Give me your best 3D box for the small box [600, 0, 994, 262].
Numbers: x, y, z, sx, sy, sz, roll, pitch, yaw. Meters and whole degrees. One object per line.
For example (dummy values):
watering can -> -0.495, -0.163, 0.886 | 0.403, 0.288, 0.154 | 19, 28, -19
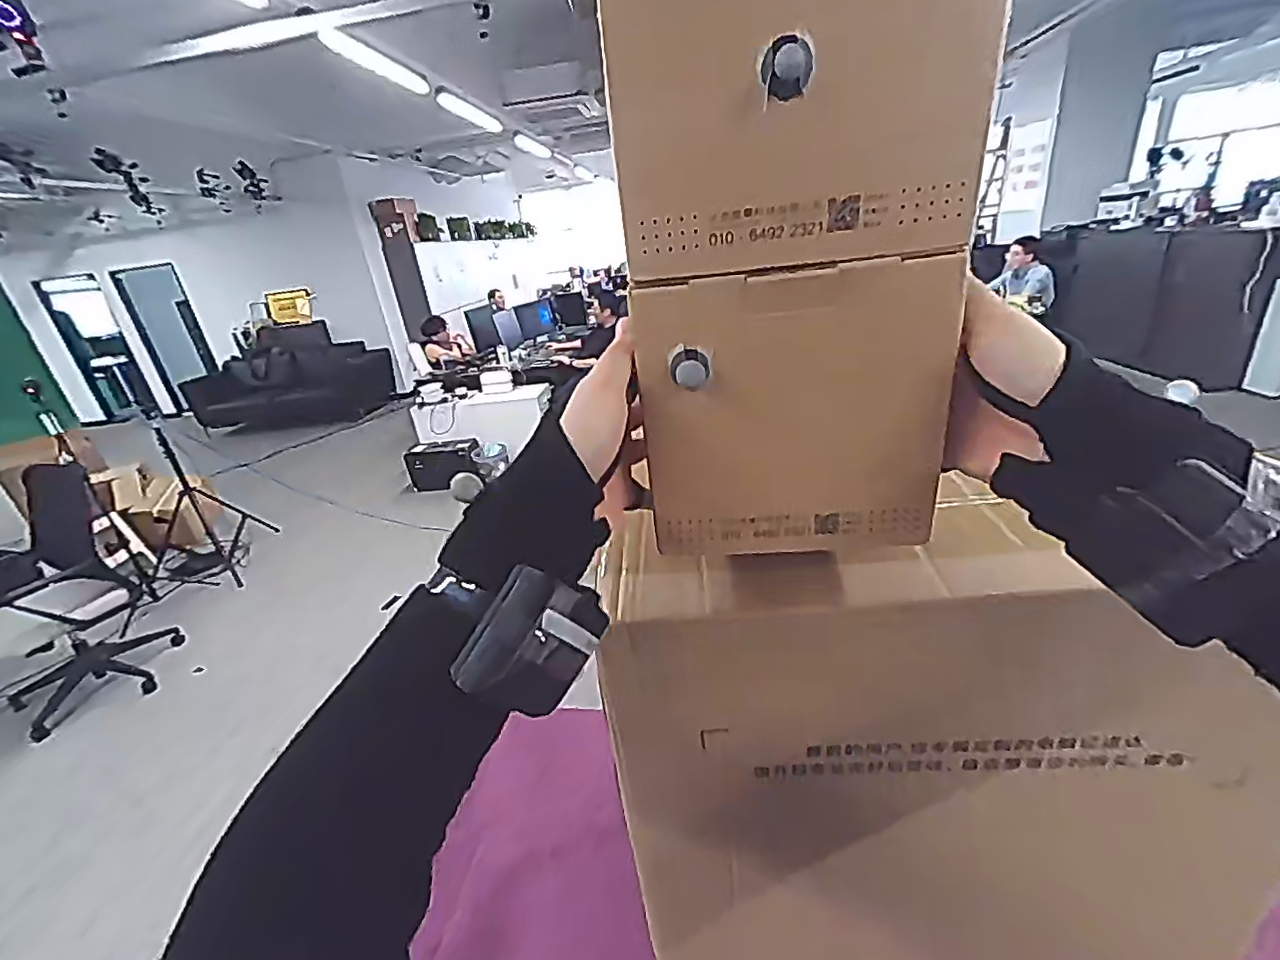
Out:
small box -> 0.073, -0.220, 0.299 | 0.168, 0.176, 0.179 | -4, 26, 6
